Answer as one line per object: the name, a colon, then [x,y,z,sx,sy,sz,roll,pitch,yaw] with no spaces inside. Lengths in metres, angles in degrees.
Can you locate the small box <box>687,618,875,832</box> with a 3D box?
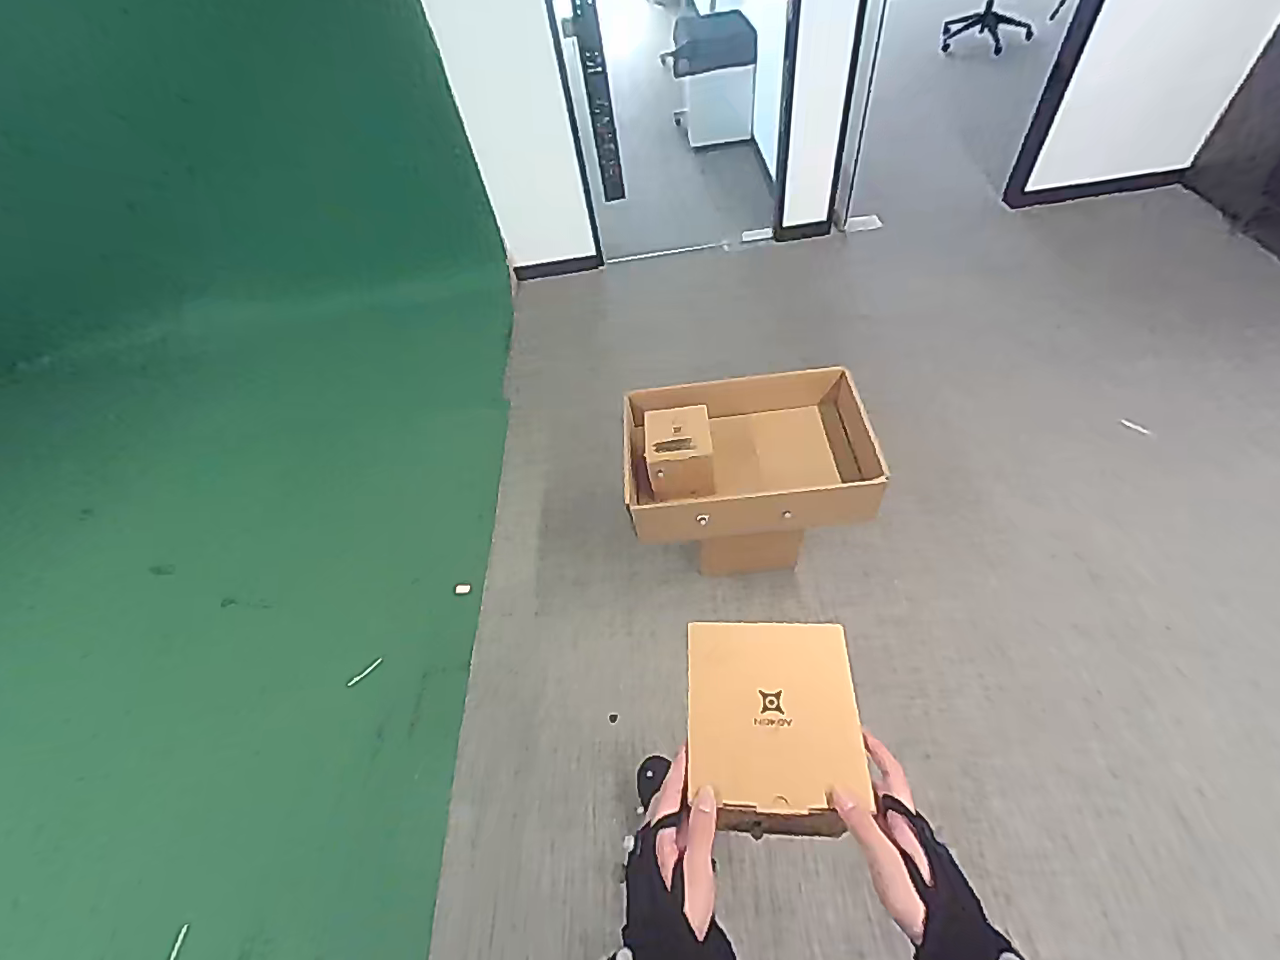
small box: [0.136,0.269,0.593,0.168,0.176,0.179,0,52,6]
